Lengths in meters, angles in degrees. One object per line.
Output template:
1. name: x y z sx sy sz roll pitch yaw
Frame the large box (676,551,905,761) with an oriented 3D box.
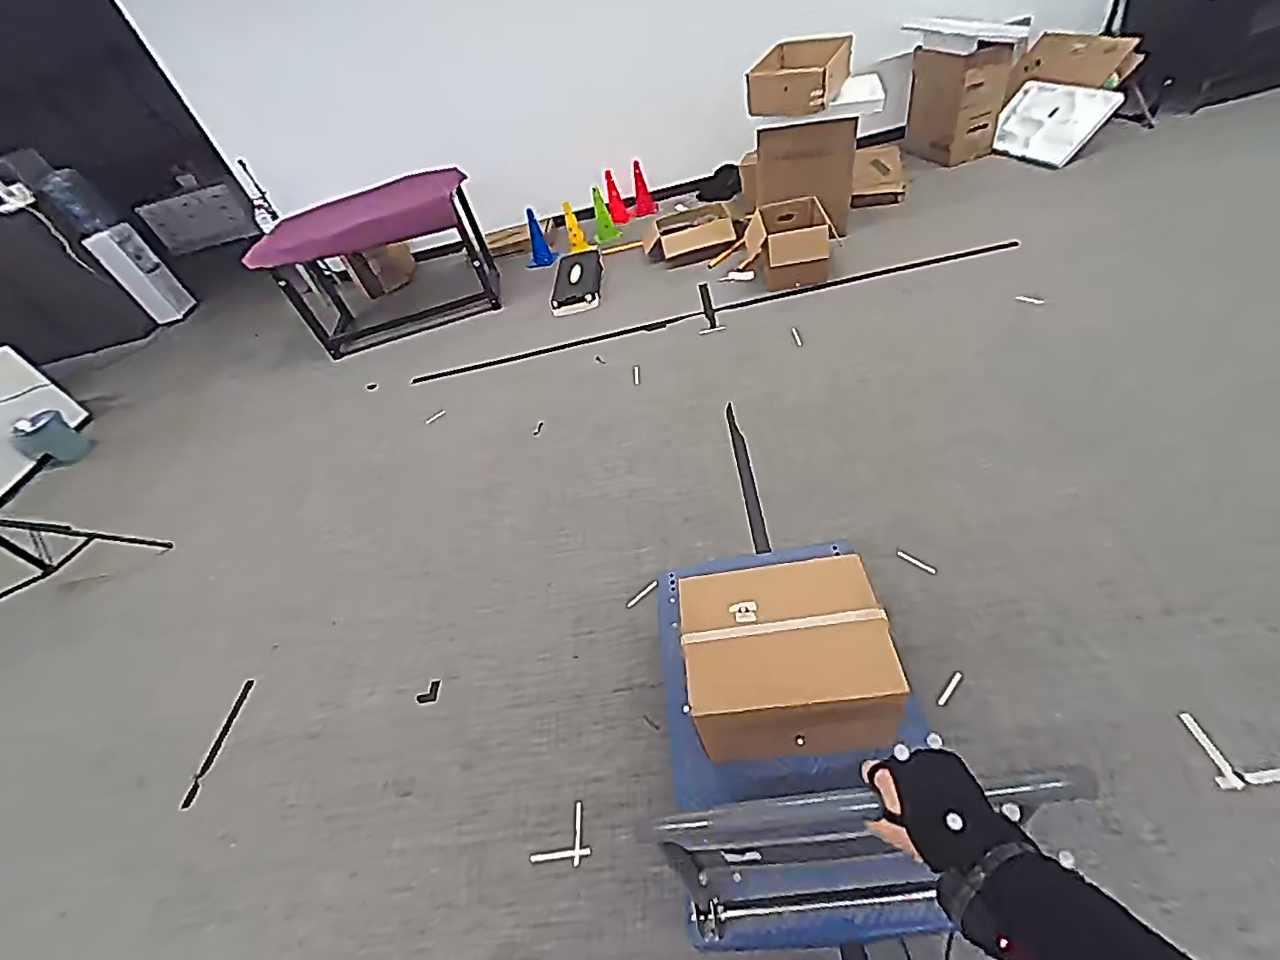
1. large box: 0.316 0.399 1.203 0.408 0.320 0.320 -11 44 9
